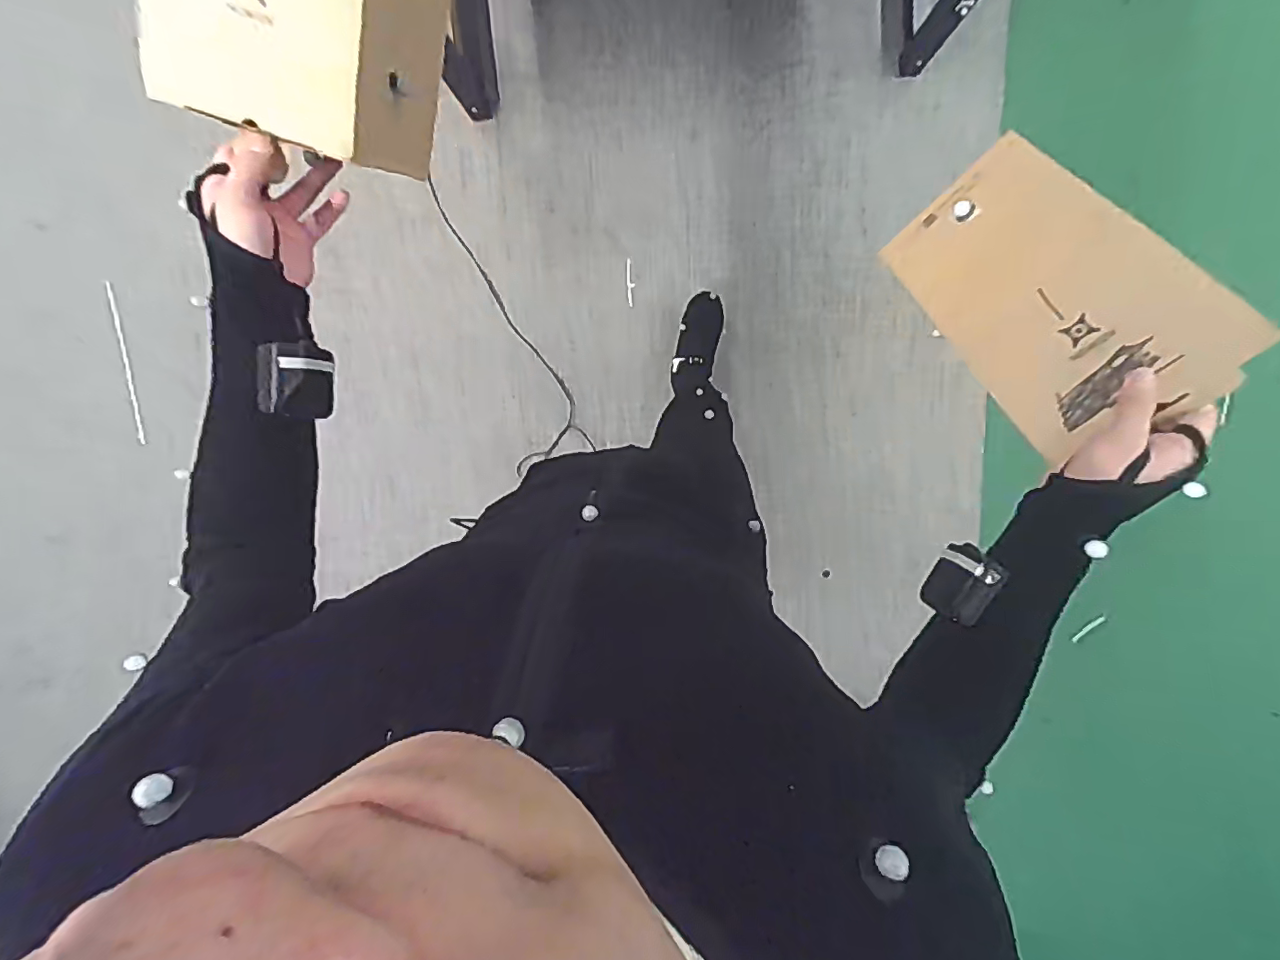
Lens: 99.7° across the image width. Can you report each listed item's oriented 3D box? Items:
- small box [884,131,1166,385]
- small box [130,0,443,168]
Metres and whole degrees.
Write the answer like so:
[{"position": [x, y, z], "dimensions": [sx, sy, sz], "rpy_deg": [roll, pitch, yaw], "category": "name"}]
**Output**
[{"position": [0.415, -0.243, 0.603], "dimensions": [0.179, 0.176, 0.168], "rpy_deg": [19, 133, -33], "category": "small box"}, {"position": [-0.288, -0.394, 0.471], "dimensions": [0.168, 0.176, 0.179], "rpy_deg": [16, 114, -6], "category": "small box"}]
